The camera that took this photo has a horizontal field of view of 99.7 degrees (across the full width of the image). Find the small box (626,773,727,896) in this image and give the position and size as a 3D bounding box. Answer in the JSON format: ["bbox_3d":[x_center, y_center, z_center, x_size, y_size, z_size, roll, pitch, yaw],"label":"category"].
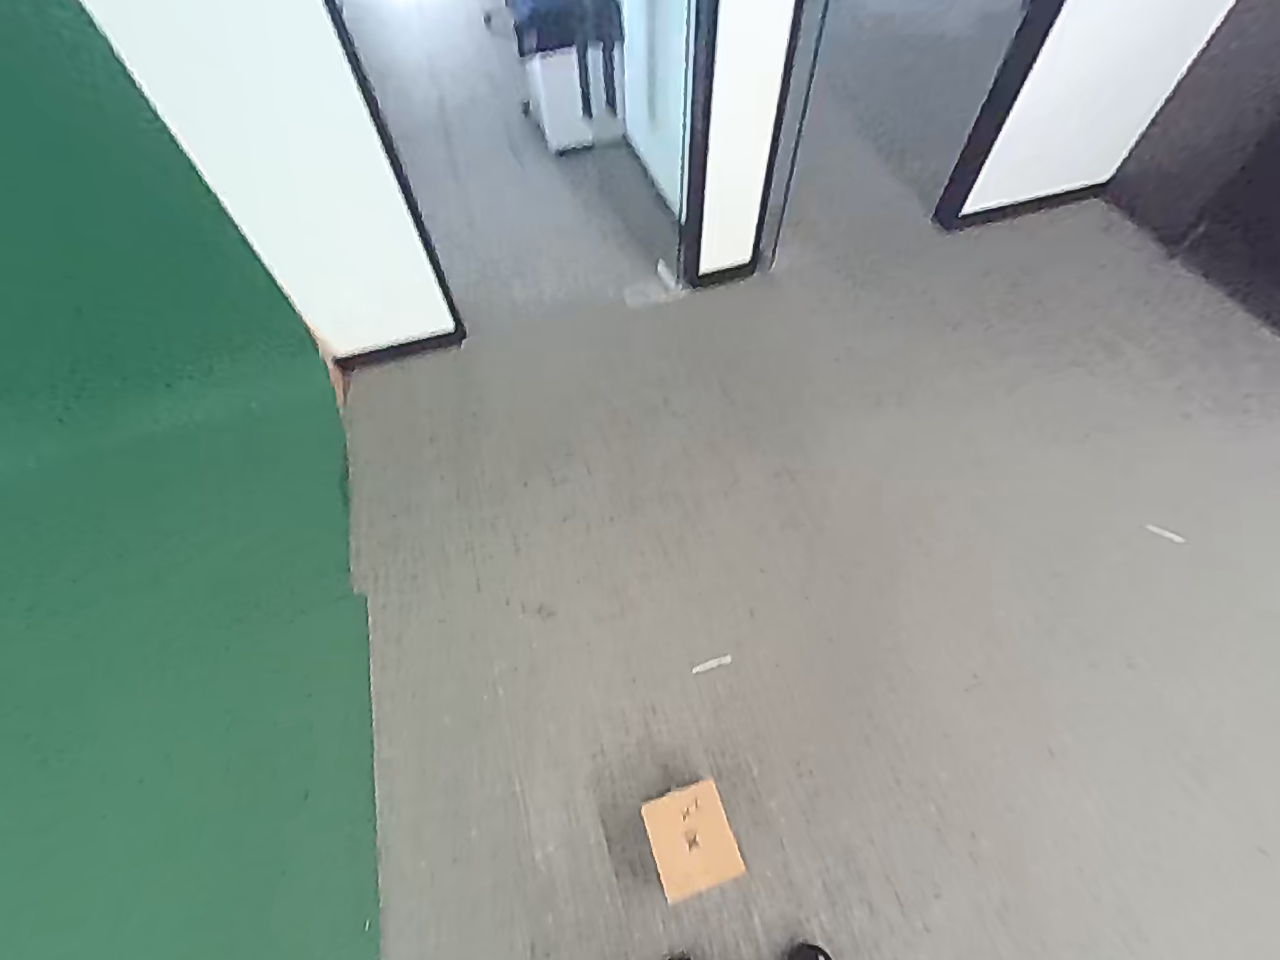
[{"bbox_3d":[0.074,0.749,1.157,0.168,0.176,0.179,-14,59,-9],"label":"small box"}]
